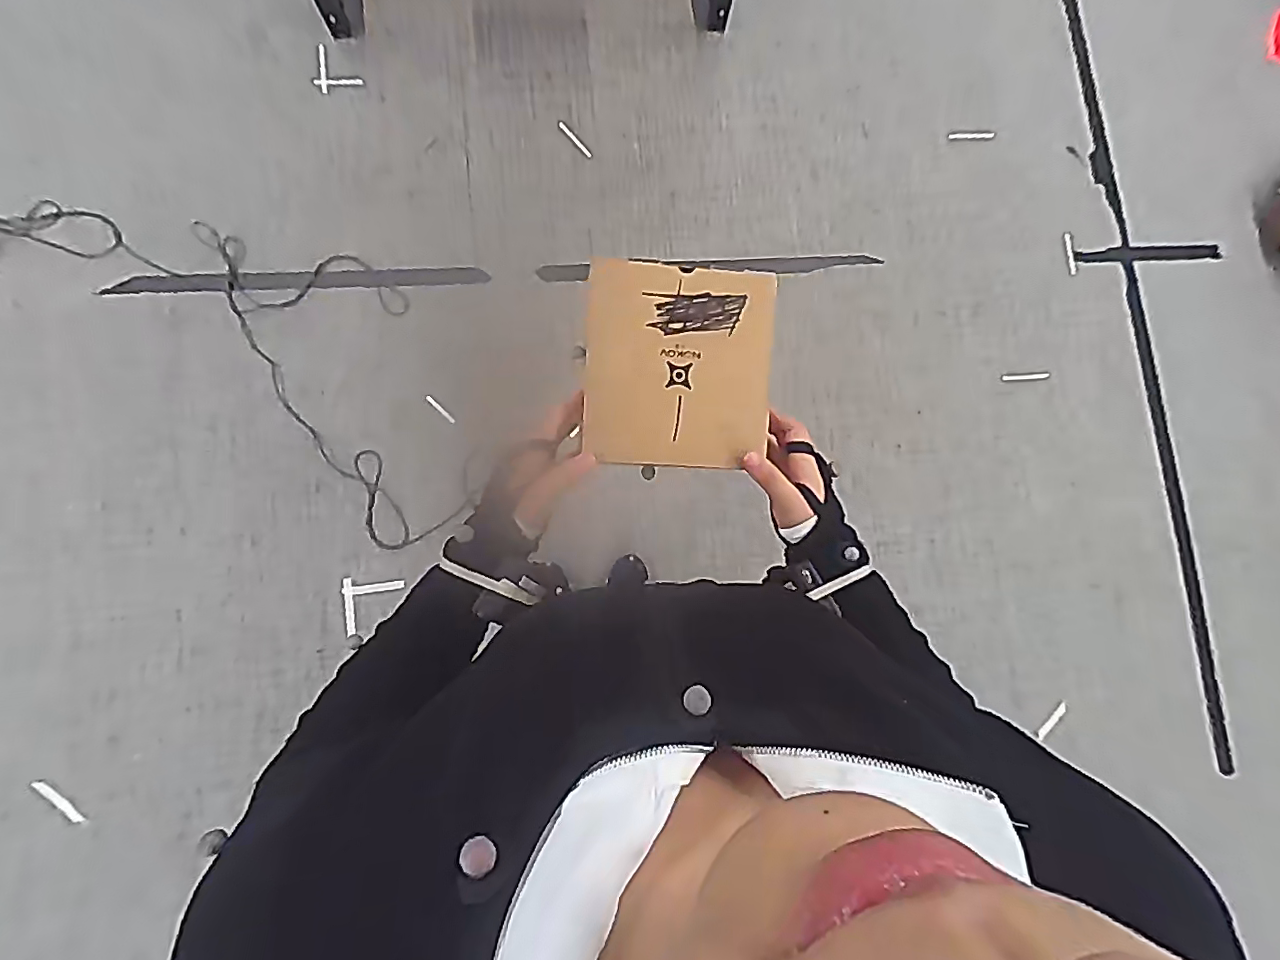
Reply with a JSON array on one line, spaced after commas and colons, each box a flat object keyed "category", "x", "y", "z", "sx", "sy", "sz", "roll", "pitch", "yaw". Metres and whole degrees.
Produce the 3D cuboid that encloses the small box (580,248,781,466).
[{"category": "small box", "x": 0.028, "y": -0.106, "z": 0.542, "sx": 0.168, "sy": 0.176, "sz": 0.179, "roll": 3, "pitch": 92, "yaw": -7}]
